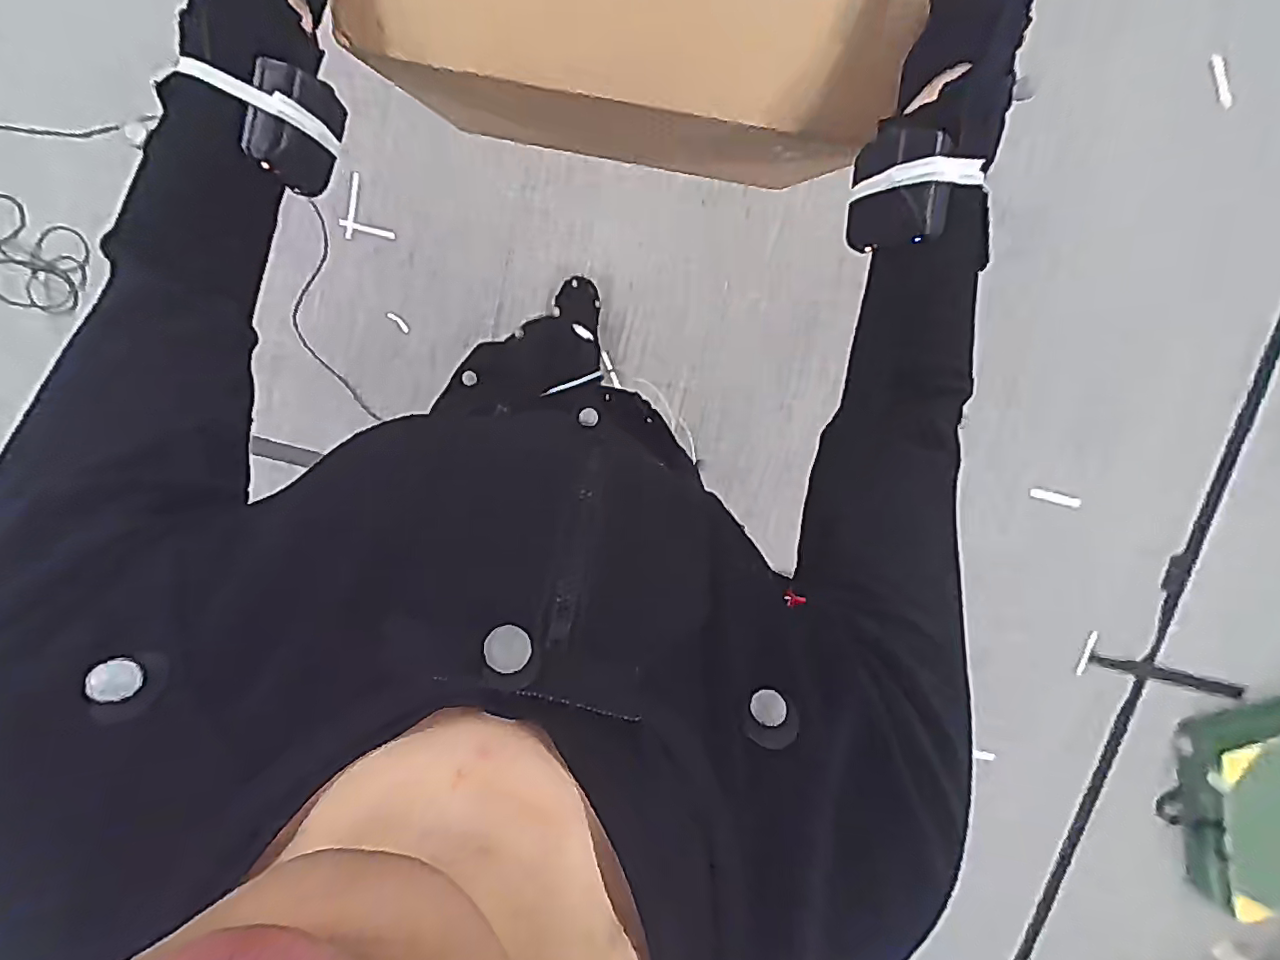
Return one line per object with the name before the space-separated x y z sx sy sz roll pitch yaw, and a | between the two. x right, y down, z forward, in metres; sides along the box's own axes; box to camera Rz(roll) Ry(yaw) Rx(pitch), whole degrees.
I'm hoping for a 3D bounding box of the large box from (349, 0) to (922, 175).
large box | 0.006 -0.485 0.471 0.408 0.320 0.320 6 114 -6
